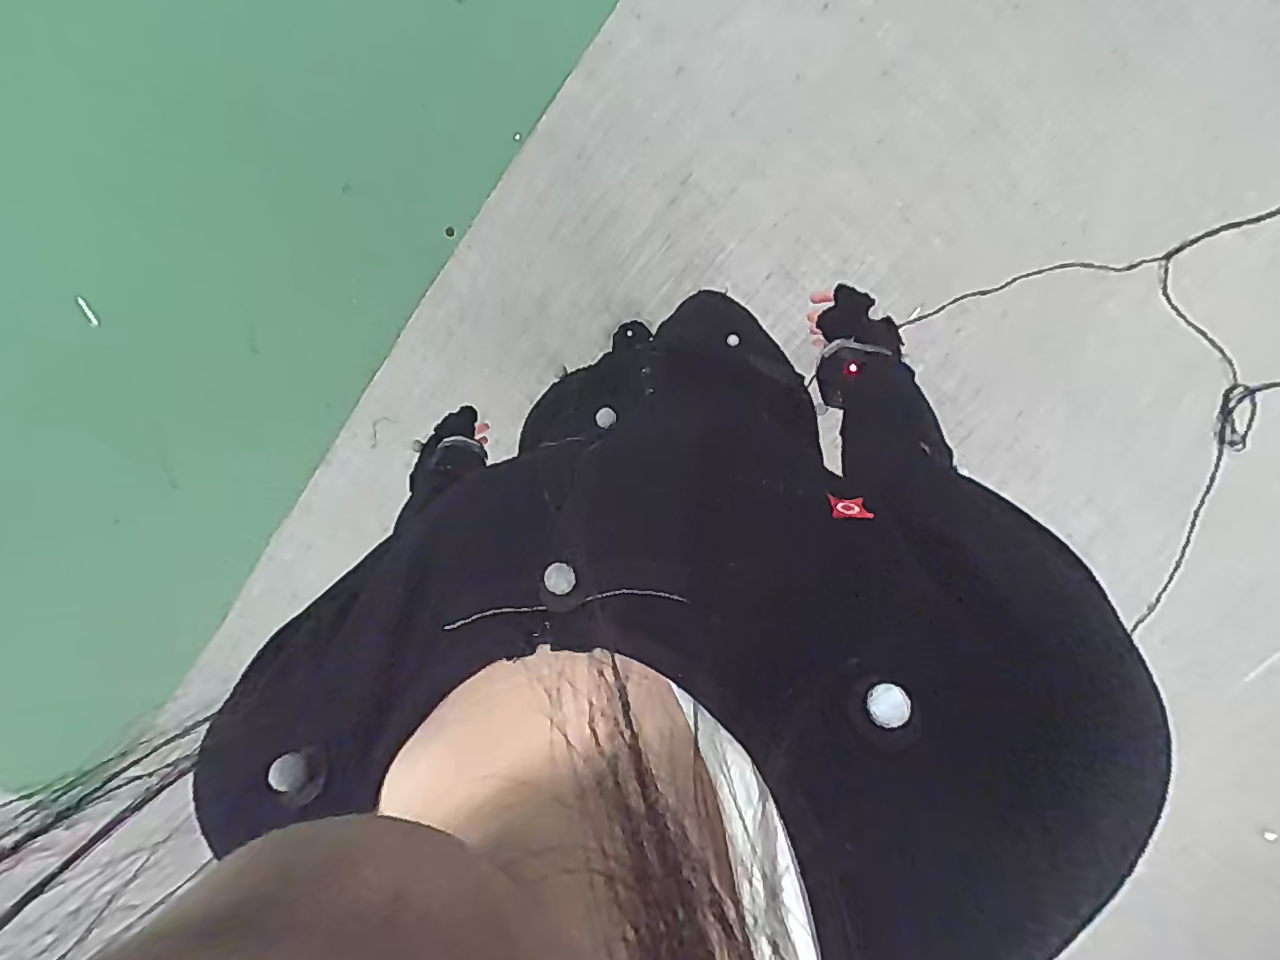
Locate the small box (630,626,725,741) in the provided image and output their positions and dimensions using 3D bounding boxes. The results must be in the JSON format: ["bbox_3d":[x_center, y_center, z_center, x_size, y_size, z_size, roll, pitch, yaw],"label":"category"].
[{"bbox_3d":[0.094,0.515,1.385,0.168,0.176,0.179,37,104,-10],"label":"small box"}]

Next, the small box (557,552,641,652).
[{"bbox_3d":[-0.105,0.335,1.514,0.168,0.176,0.179,33,104,-7],"label":"small box"}]
